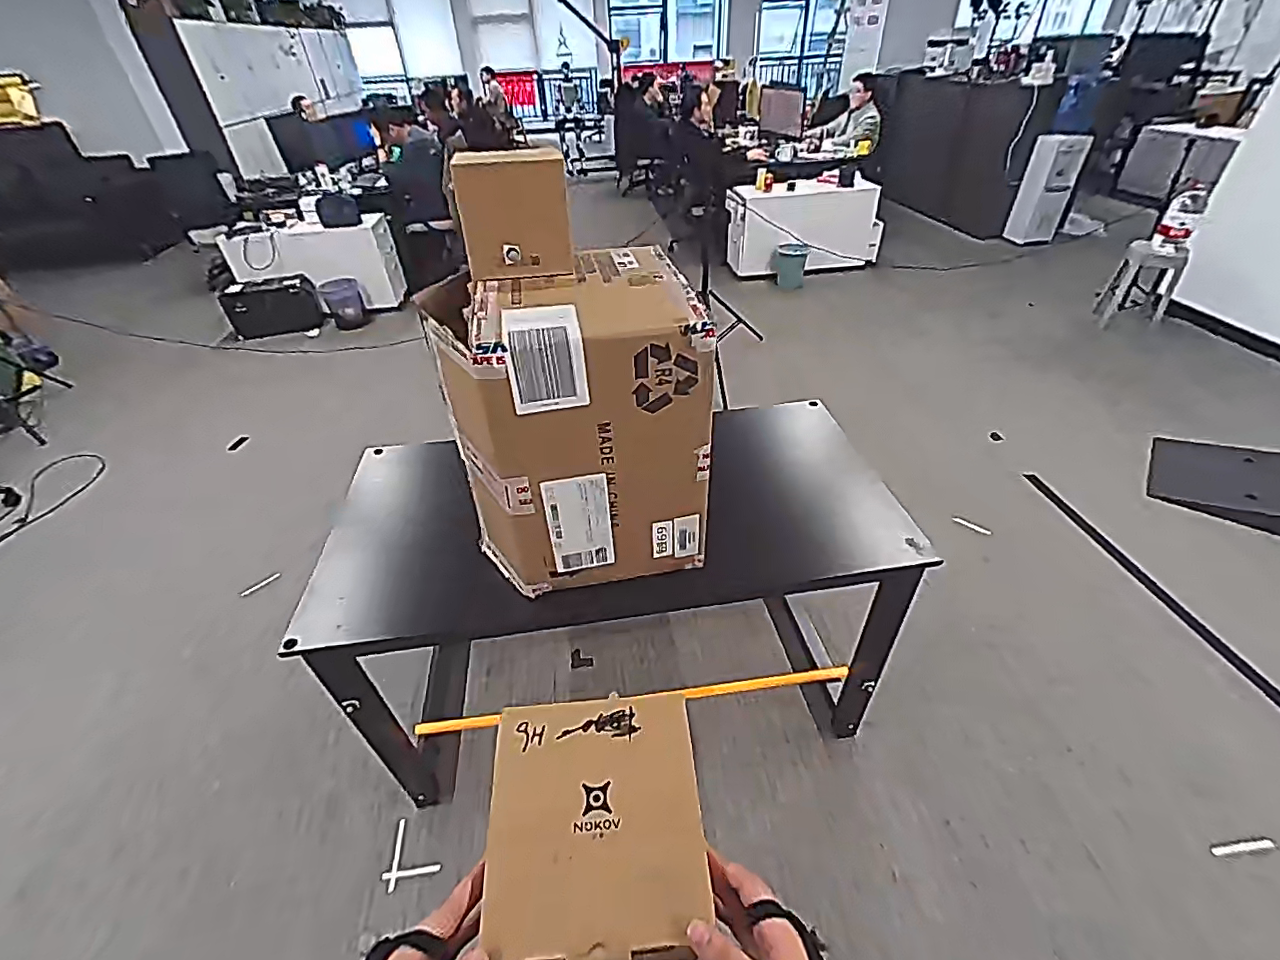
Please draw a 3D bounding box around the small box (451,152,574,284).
[{"bbox_3d":[-0.206,-0.436,0.896,0.168,0.176,0.179,-10,37,-9],"label":"small box"}]
